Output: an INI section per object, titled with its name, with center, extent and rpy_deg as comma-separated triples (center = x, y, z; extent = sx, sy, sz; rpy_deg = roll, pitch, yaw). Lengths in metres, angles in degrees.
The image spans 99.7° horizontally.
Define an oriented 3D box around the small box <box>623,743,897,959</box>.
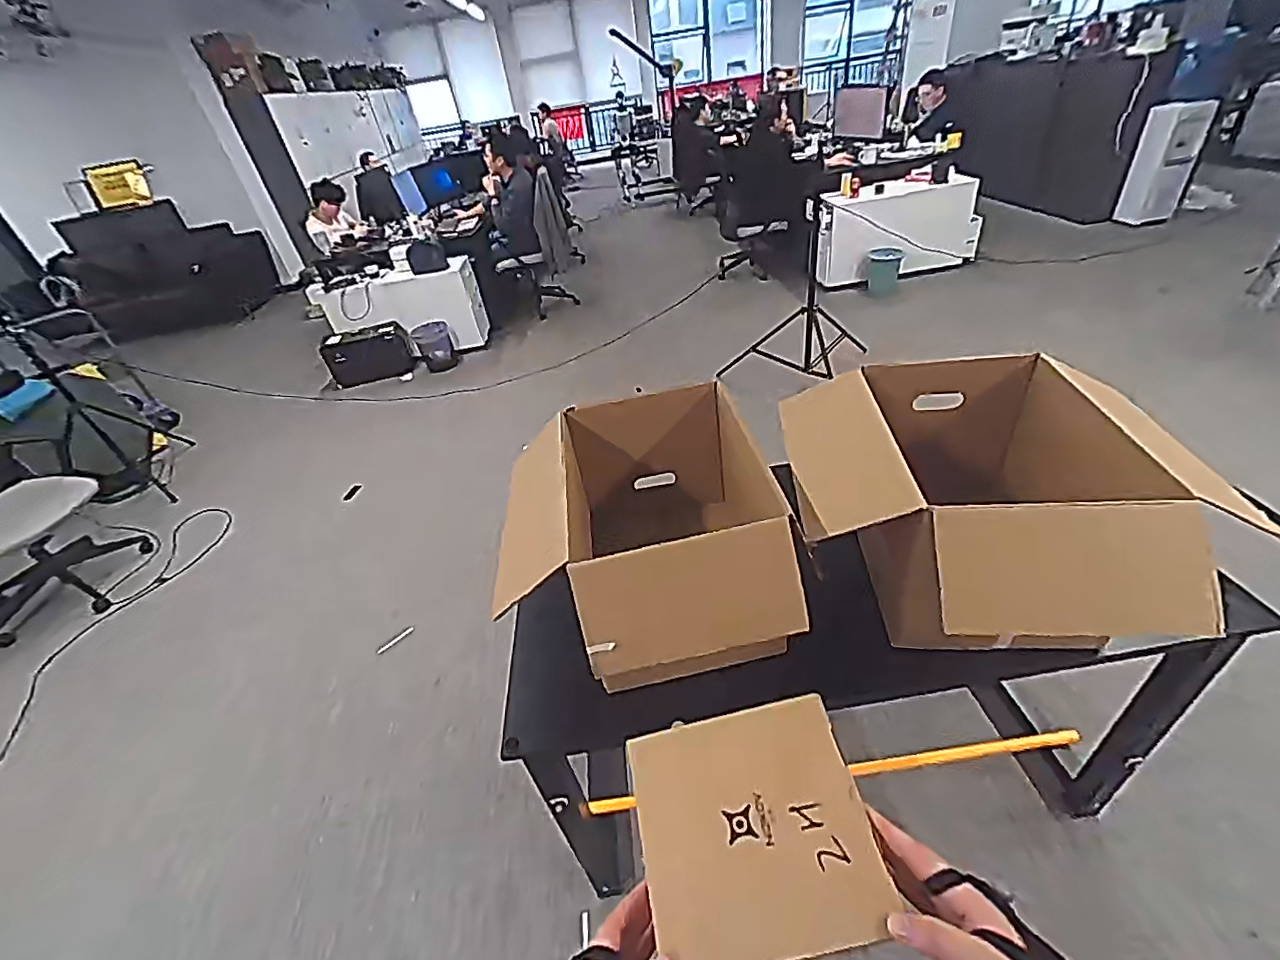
[small box]
center = 0.096, 0.353, 0.464
extent = 0.179, 0.176, 0.168
rpy_deg = -14, 47, 2
